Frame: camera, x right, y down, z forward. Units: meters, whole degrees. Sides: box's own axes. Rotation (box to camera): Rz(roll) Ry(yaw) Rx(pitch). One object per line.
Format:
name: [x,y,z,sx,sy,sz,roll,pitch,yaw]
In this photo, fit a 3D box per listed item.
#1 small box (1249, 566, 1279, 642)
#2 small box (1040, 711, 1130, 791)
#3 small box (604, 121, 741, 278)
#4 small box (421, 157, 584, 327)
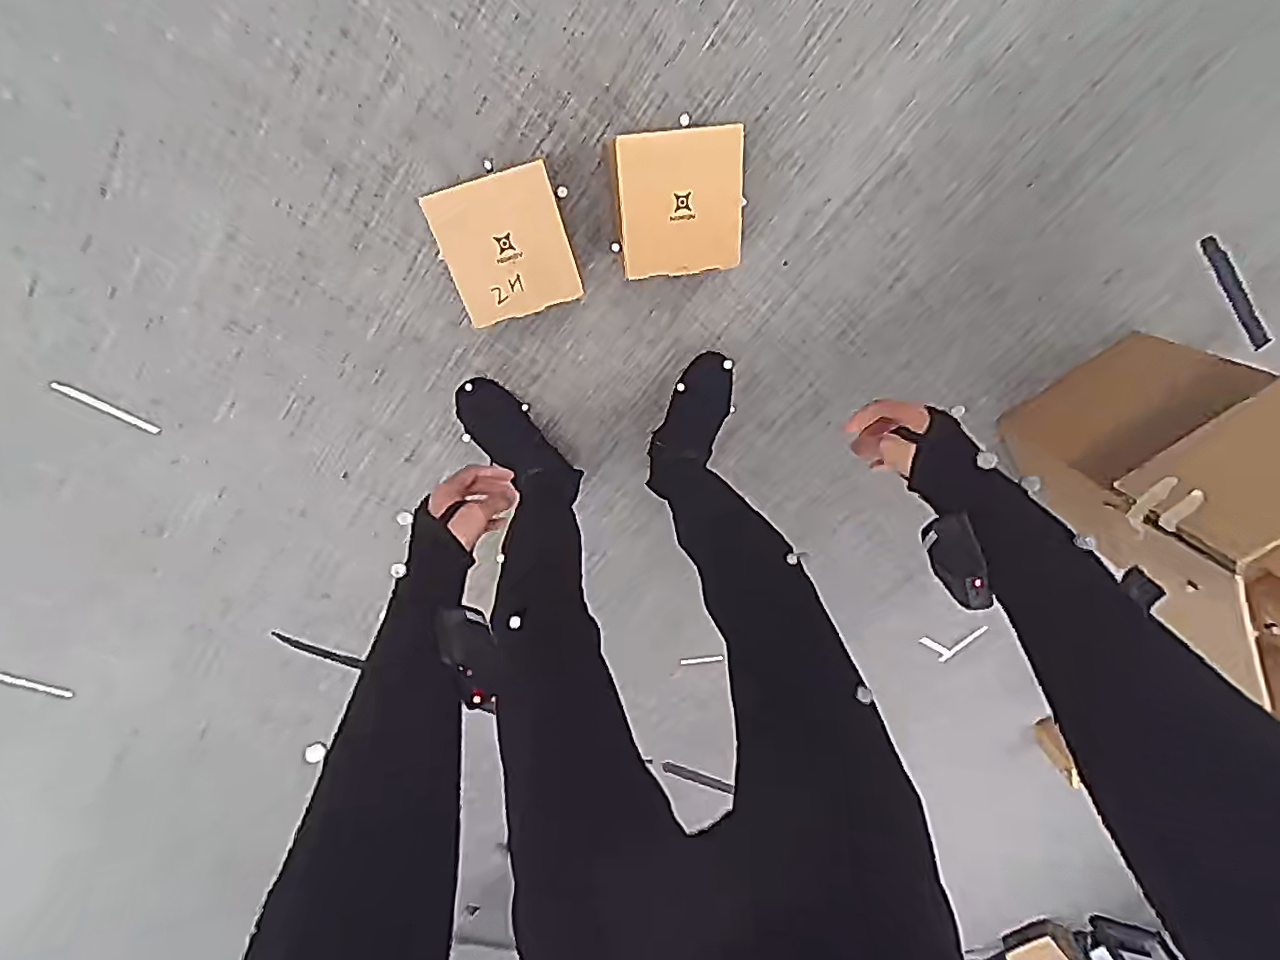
small box: [1.143,0.210,0.851,0.179,0.176,0.168,-39,119,16]
small box: [1.526,0.925,1.863,0.179,0.176,0.168,-27,122,7]
small box: [0.042,-0.409,0.786,0.168,0.176,0.179,-9,124,-4]
small box: [-0.188,-0.350,0.785,0.168,0.176,0.179,-16,124,2]
